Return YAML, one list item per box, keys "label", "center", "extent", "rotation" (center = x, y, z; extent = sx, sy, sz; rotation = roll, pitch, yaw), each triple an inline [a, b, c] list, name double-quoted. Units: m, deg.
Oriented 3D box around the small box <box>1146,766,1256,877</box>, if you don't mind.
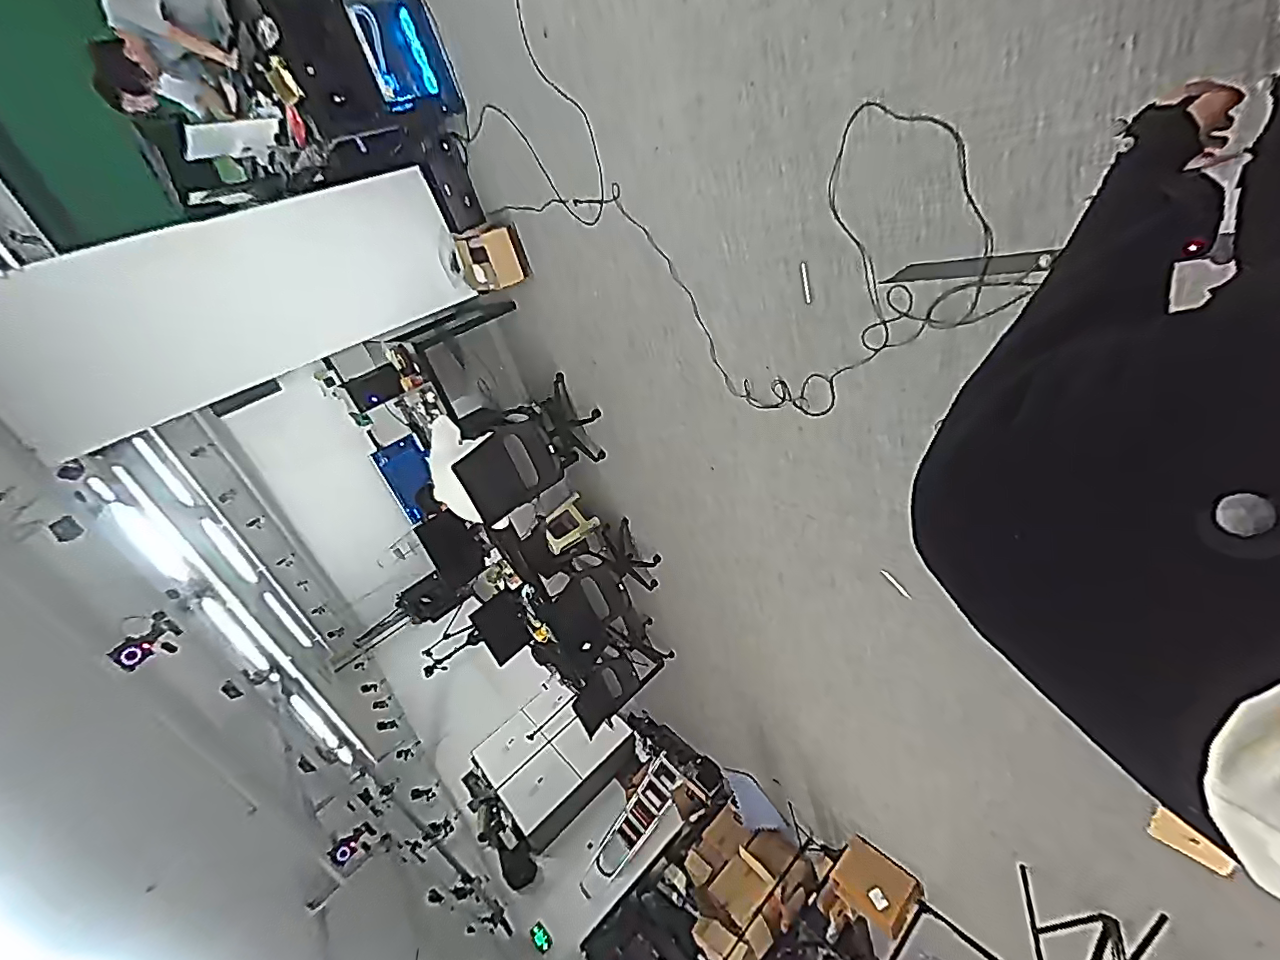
- label: "small box"
  center: [1.614, 0.975, 1.556]
  extent: [0.179, 0.176, 0.168]
  rotation: [23, 139, 46]
